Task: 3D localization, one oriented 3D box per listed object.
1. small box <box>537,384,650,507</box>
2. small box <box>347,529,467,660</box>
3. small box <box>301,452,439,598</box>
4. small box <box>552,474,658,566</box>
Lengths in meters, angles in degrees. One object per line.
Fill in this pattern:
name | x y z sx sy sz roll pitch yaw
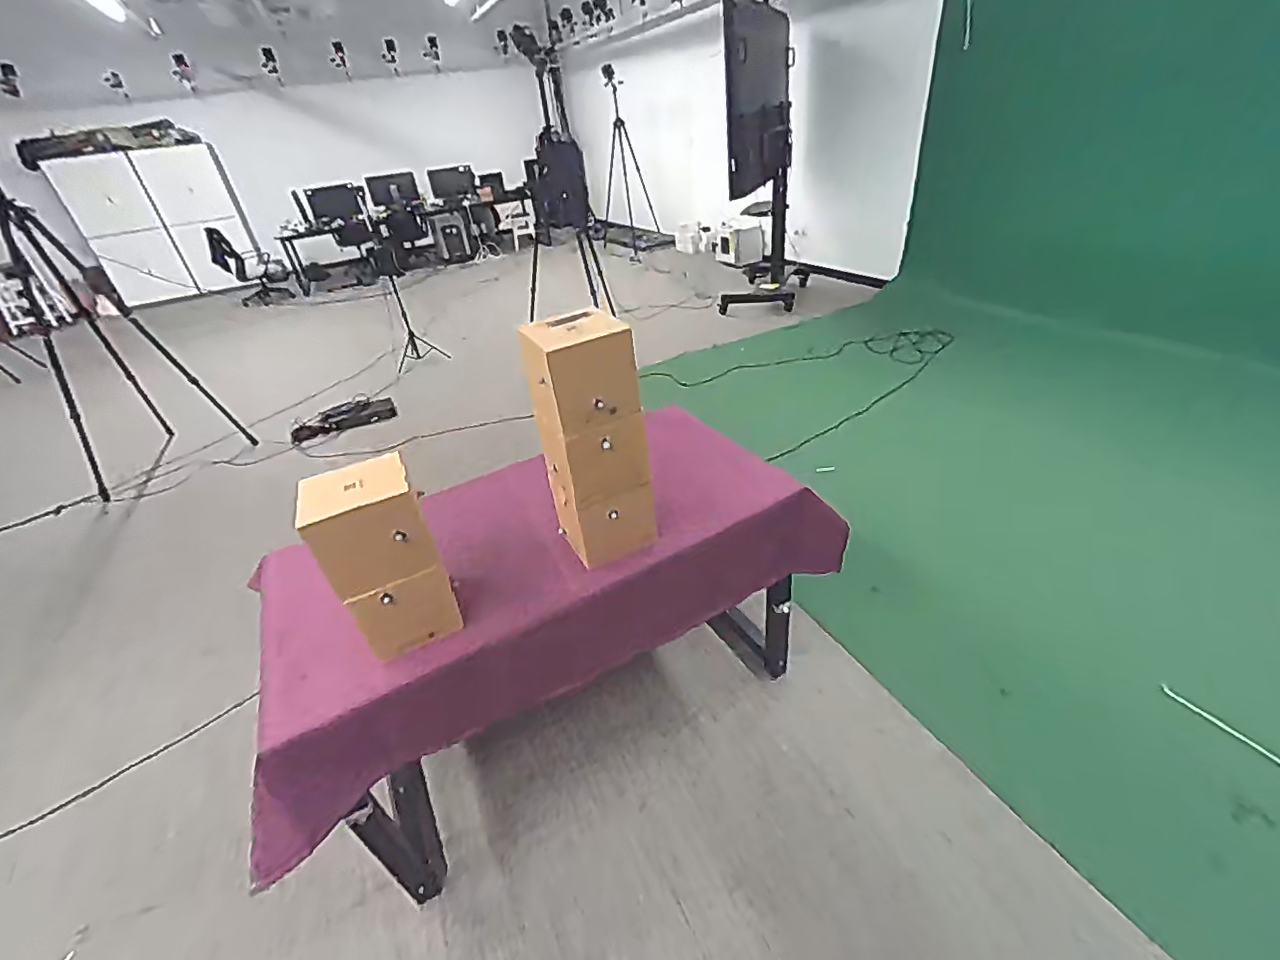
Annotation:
small box | -0.091 -0.073 1.117 0.179 0.176 0.168 -23 37 -20
small box | -0.458 0.214 1.063 0.168 0.176 0.179 -22 35 -18
small box | -0.477 0.078 0.973 0.179 0.176 0.168 -21 36 -18
small box | -0.075 0.062 1.206 0.179 0.176 0.168 -21 36 -20
